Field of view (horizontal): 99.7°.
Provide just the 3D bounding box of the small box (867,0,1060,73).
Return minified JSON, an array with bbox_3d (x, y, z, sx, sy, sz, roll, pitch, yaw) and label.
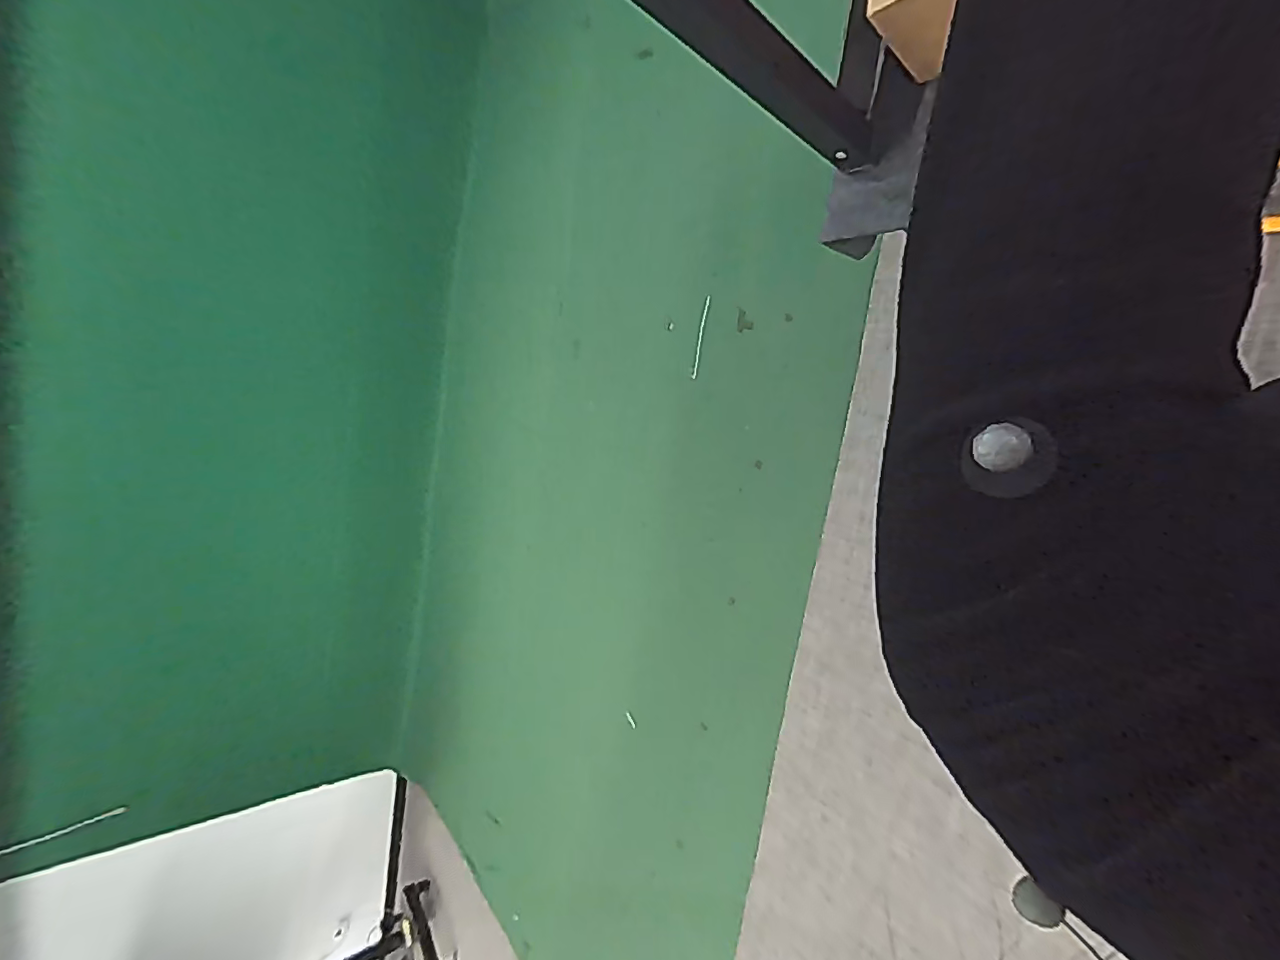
[{"bbox_3d":[0.405,-0.654,0.656,0.168,0.176,0.179,13,98,48],"label":"small box"}]
